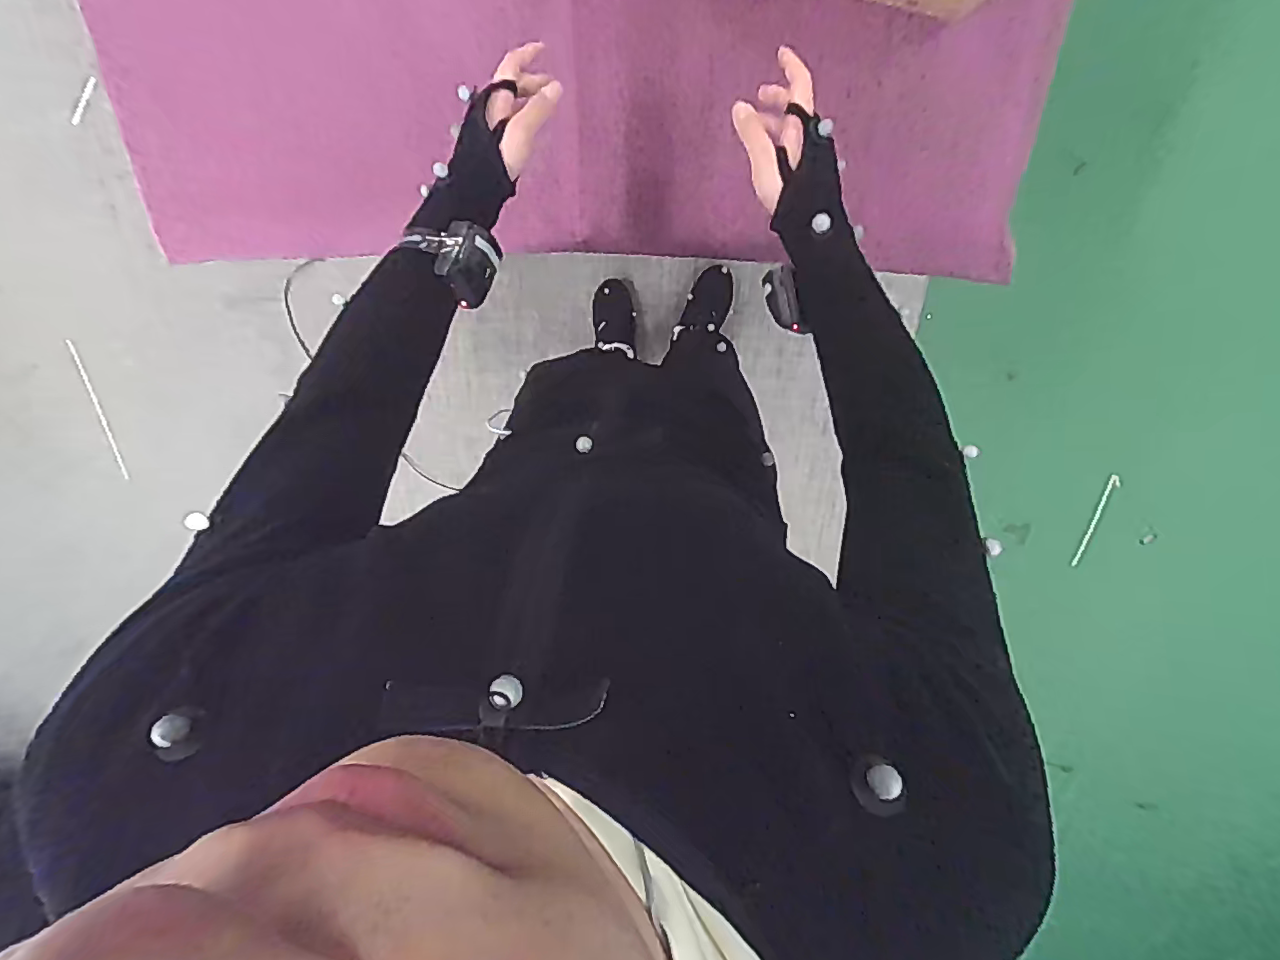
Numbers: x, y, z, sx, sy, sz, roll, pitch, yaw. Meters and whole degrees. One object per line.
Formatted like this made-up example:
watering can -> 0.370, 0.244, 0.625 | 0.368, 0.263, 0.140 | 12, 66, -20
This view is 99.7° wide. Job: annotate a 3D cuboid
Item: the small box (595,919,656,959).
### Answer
small box -> -0.049, 1.482, 1.643 | 0.179, 0.176, 0.168 | 5, 114, 4
